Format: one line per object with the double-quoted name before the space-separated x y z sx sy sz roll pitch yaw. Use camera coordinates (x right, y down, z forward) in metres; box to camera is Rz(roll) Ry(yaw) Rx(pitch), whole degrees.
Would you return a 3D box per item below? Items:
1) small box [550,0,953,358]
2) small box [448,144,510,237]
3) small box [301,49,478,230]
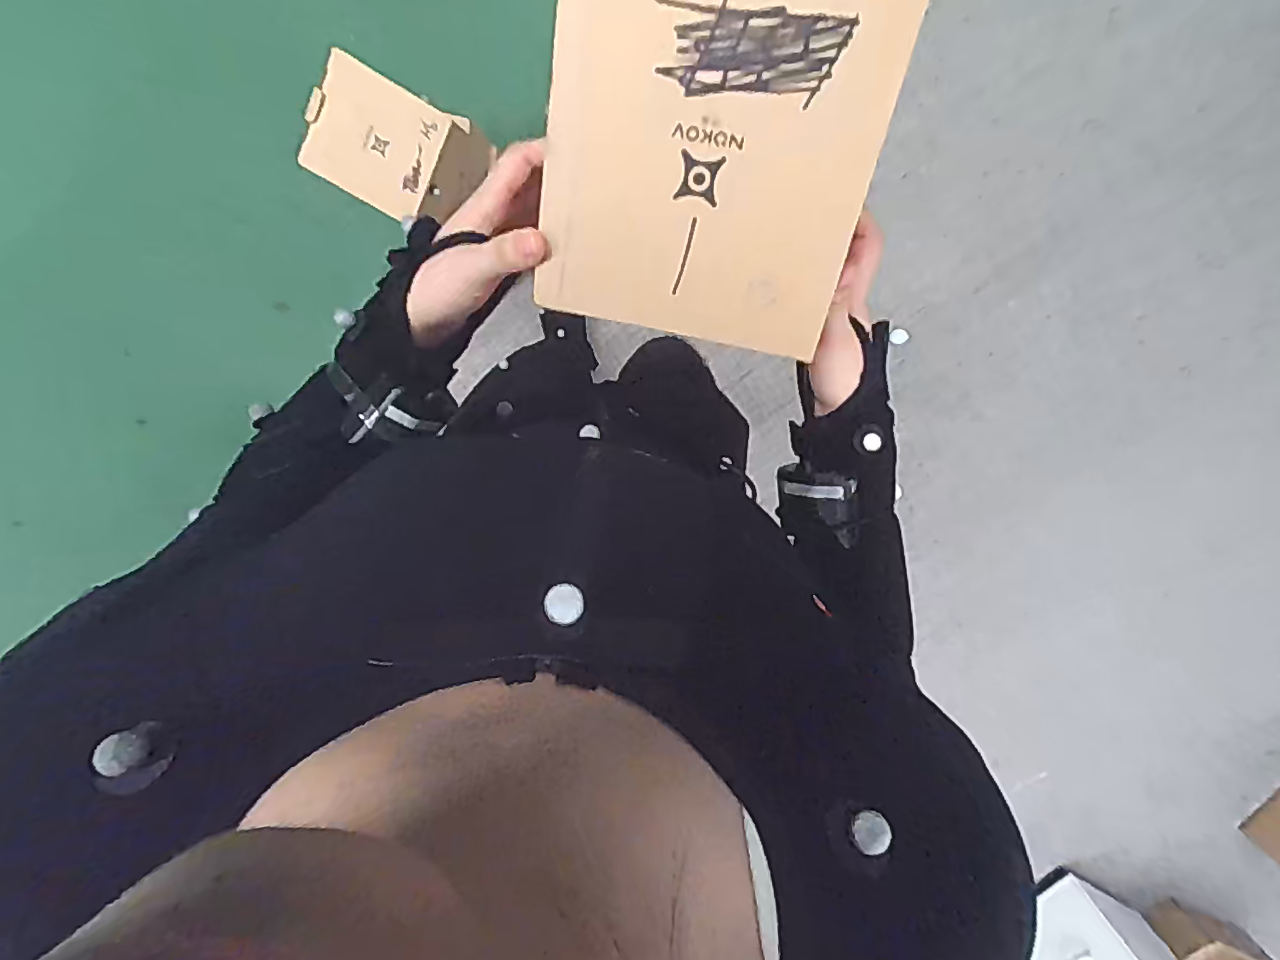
"small box" 0.052 -0.195 0.340 0.168 0.176 0.179 12 116 2
"small box" -0.383 -0.625 1.161 0.179 0.176 0.168 9 111 -6
"small box" -0.382 -0.513 0.852 0.179 0.176 0.168 27 108 -13
